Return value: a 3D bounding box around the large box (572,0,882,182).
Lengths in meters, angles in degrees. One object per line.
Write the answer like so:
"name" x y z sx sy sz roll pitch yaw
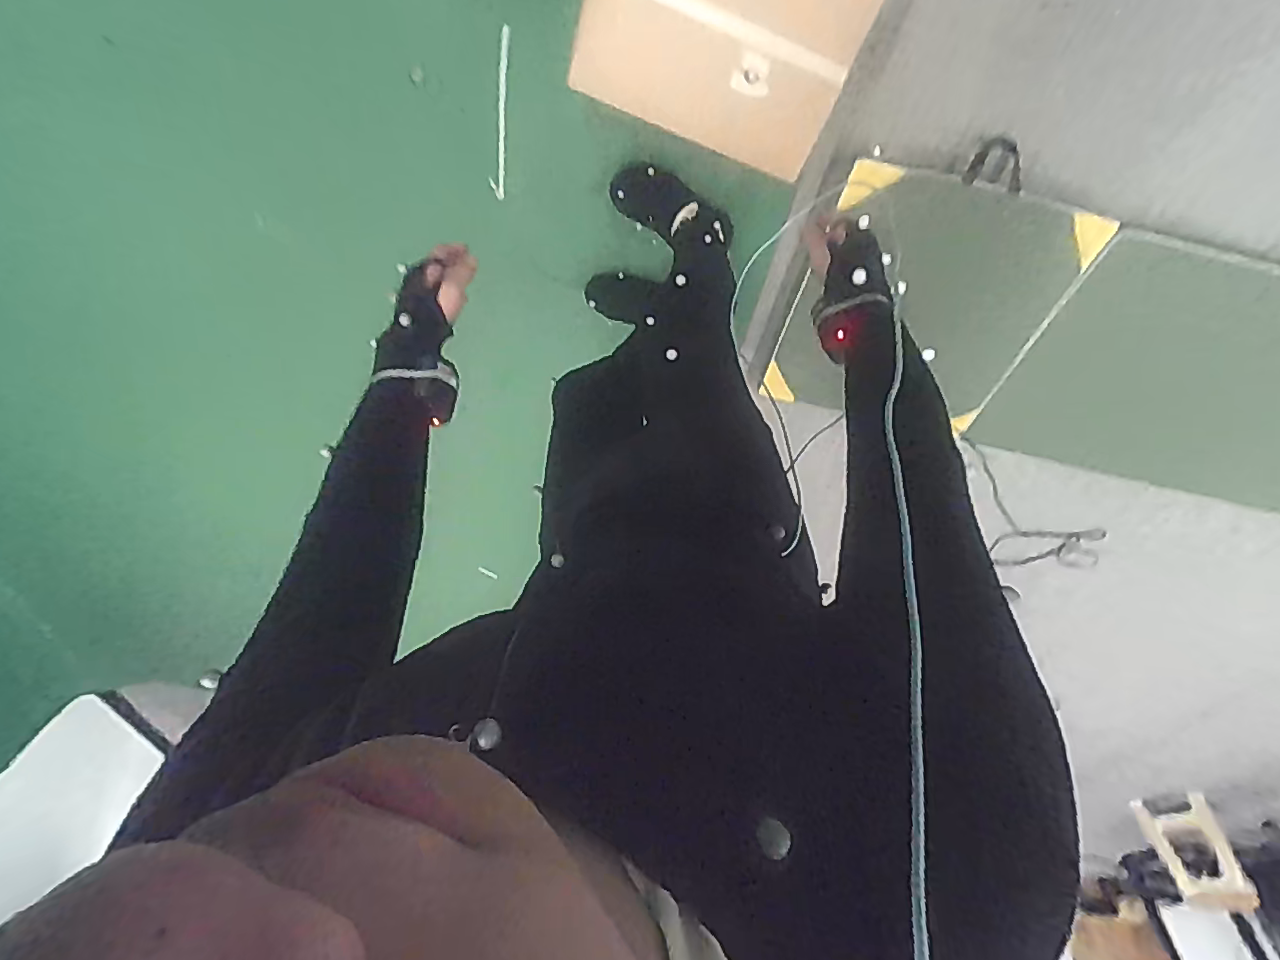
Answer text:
"large box" 0.133 -0.765 0.907 0.408 0.320 0.320 17 131 -10
